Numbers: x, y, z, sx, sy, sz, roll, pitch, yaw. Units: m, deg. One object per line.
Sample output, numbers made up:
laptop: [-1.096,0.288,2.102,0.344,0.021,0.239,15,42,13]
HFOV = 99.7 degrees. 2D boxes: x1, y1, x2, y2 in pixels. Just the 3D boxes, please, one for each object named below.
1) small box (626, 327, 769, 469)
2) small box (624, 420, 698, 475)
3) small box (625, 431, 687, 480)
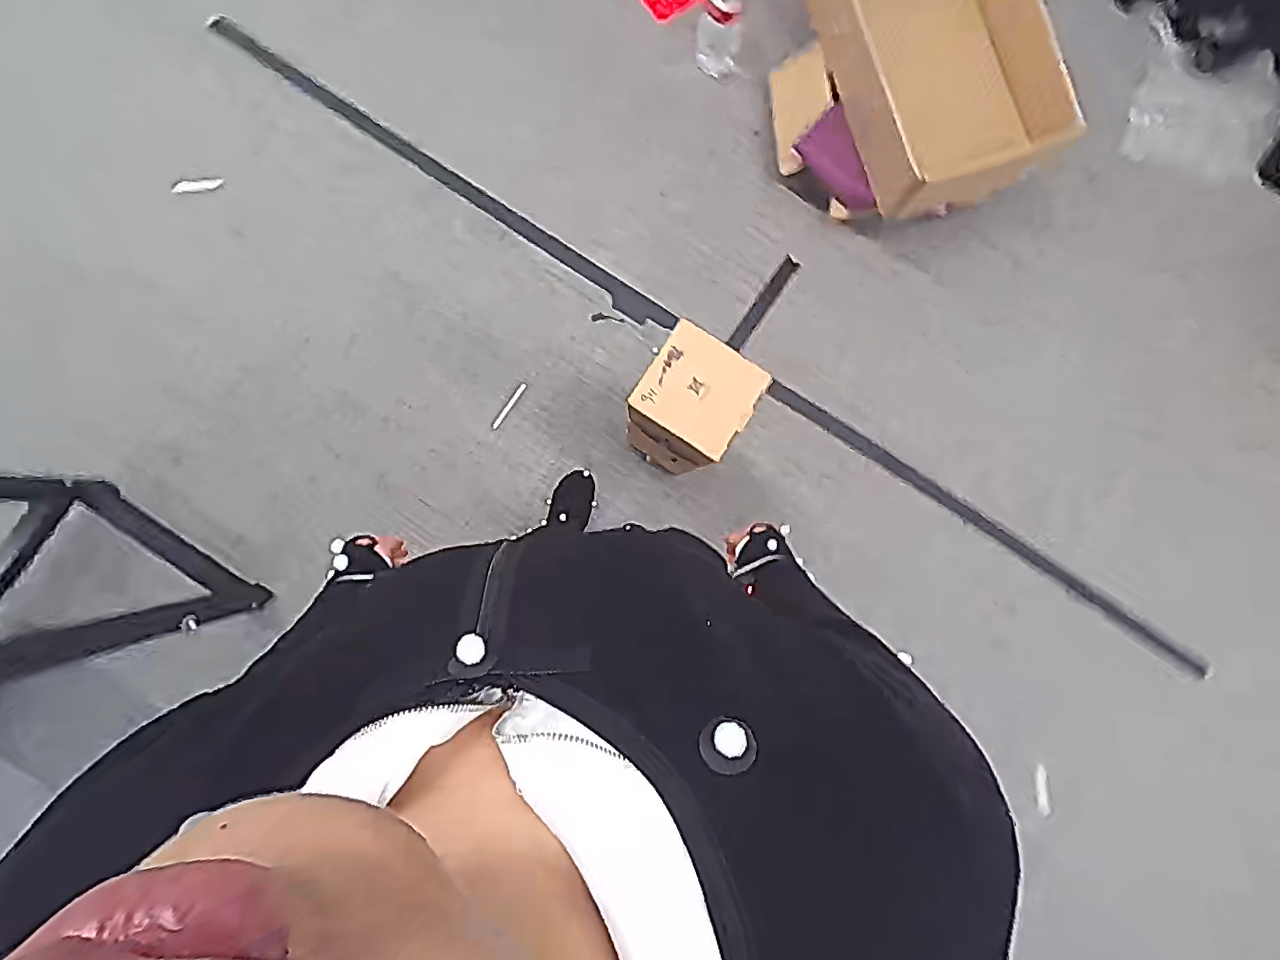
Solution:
small box: [0.091,-0.132,0.944,0.179,0.176,0.168,34,88,-1]
small box: [0.083,-0.124,1.107,0.168,0.176,0.179,34,86,0]
small box: [0.077,-0.116,1.270,0.168,0.176,0.179,35,88,1]
